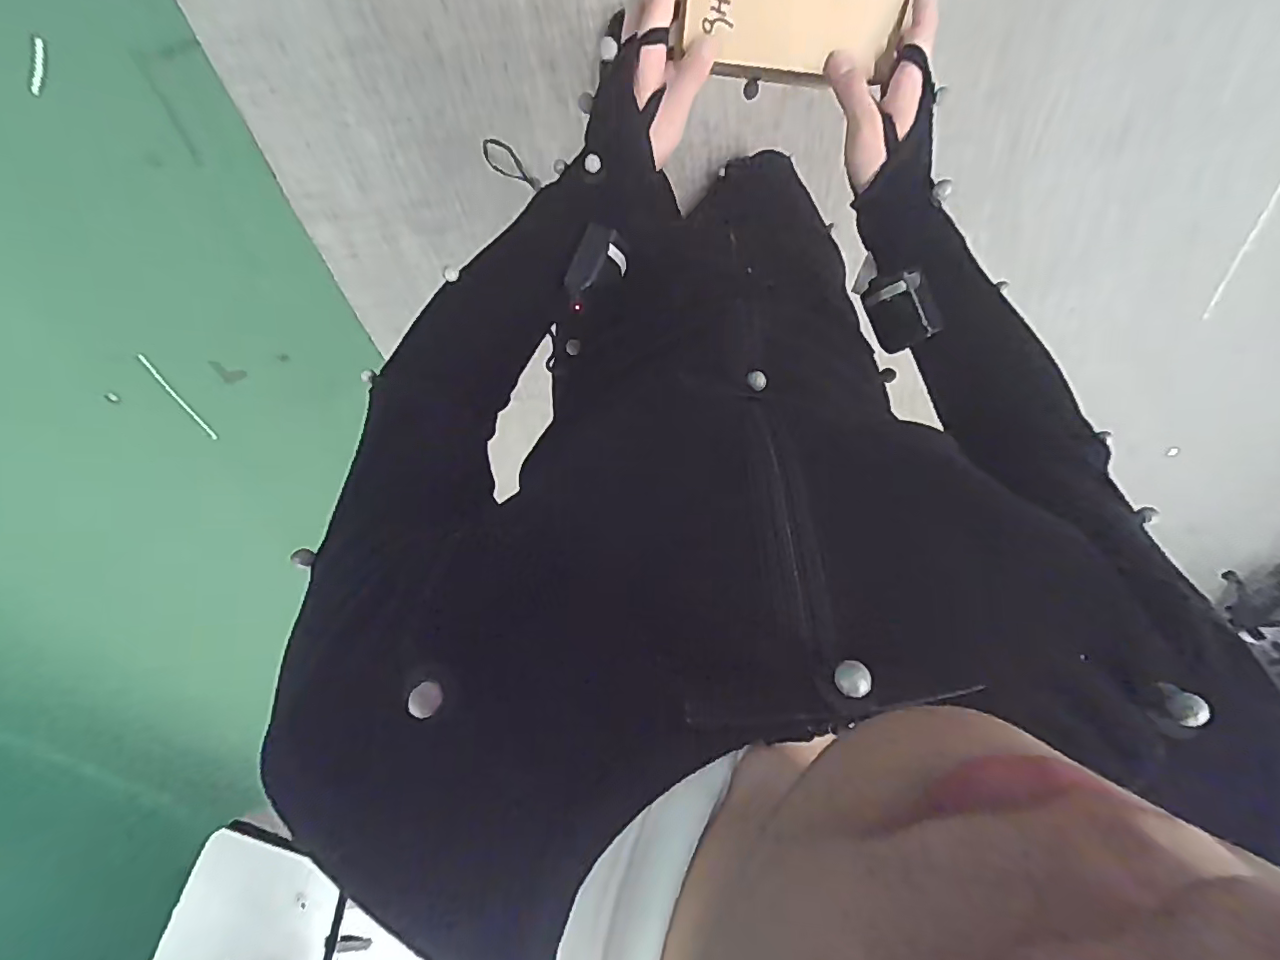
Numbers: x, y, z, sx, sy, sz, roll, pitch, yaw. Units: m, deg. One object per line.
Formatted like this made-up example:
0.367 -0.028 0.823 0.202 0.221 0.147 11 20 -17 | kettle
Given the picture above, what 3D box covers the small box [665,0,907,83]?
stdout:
0.122 -0.451 0.461 0.179 0.176 0.168 4 124 -5 | small box
